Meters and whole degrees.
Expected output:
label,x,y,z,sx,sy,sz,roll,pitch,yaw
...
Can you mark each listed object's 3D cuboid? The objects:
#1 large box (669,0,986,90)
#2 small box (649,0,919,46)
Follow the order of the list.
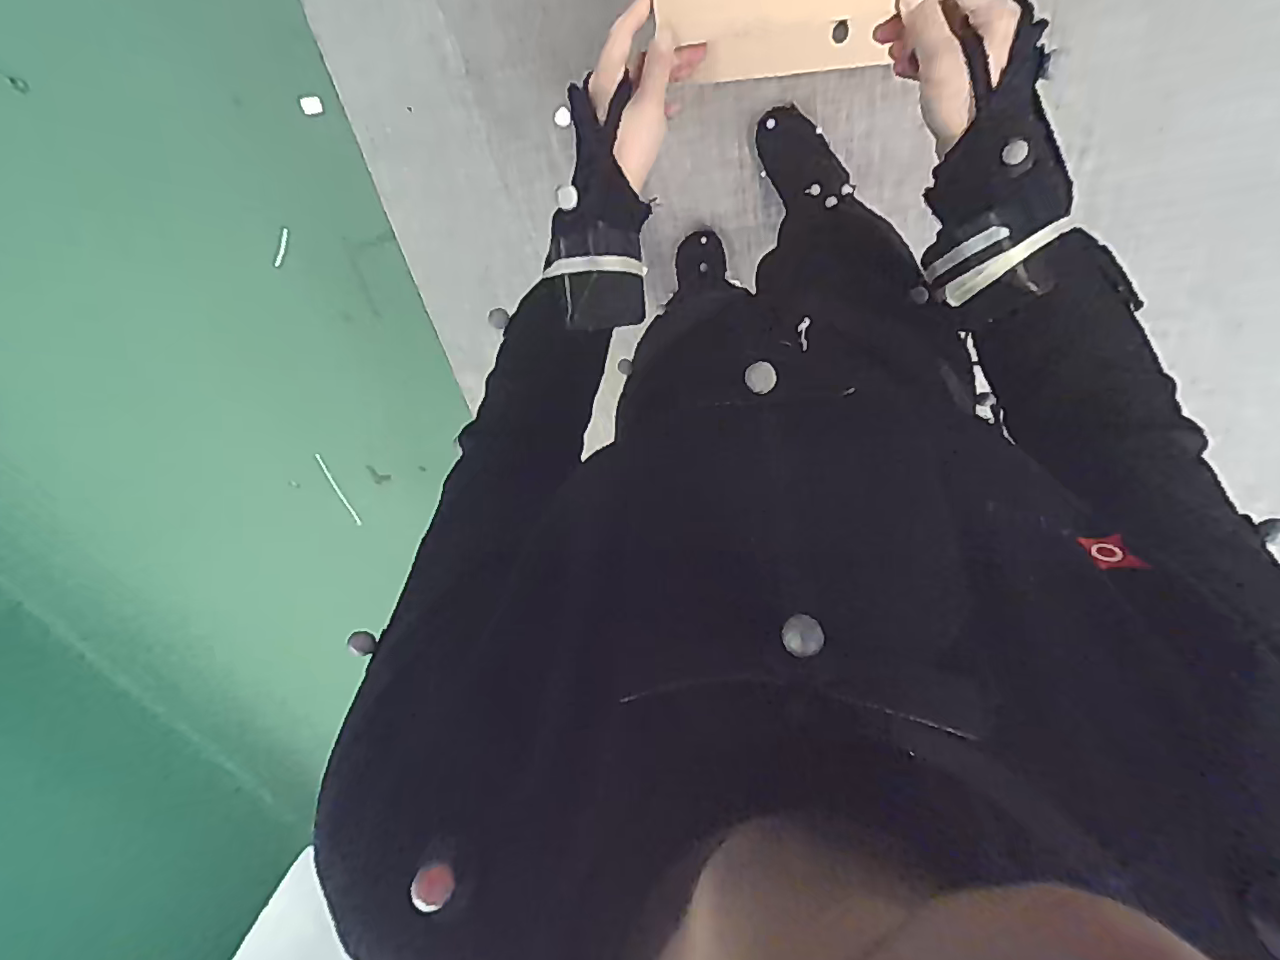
label,x,y,z,sx,sy,sz,roll,pitch,yaw
large box,0.249,-0.768,0.765,0.408,0.320,0.320,2,127,12
small box,0.094,-0.413,0.362,0.179,0.176,0.168,0,130,12
